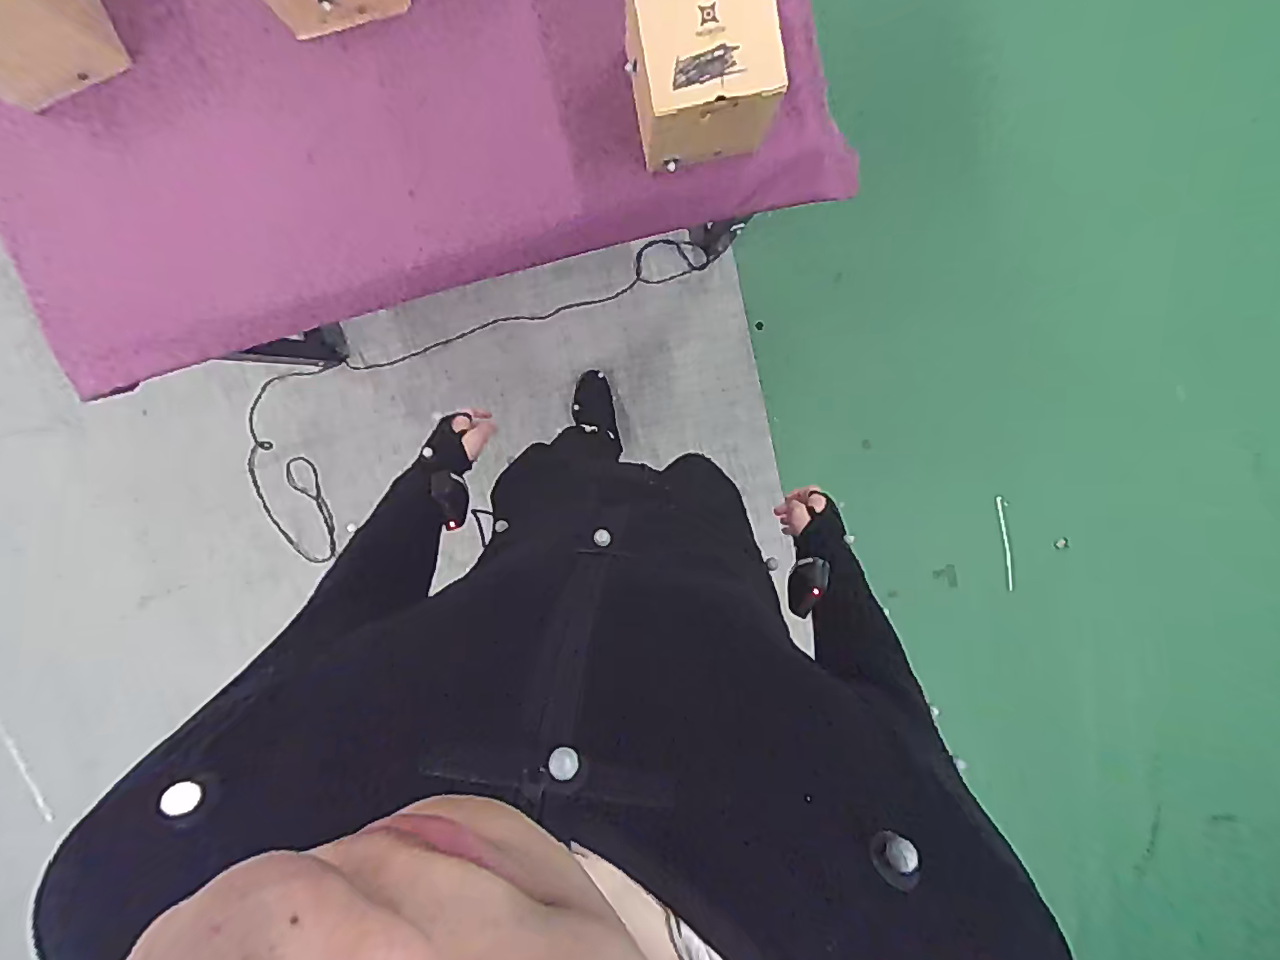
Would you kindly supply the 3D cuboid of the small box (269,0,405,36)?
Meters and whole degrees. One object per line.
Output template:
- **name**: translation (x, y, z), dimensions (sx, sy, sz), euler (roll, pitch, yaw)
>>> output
- **small box**: translation (-0.418, -0.703, 0.659), dimensions (0.168, 0.176, 0.179), euler (-16, 102, 0)

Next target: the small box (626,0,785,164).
- **small box**: translation (0.077, -0.542, 0.709), dimensions (0.168, 0.176, 0.179), euler (-12, 99, 0)
